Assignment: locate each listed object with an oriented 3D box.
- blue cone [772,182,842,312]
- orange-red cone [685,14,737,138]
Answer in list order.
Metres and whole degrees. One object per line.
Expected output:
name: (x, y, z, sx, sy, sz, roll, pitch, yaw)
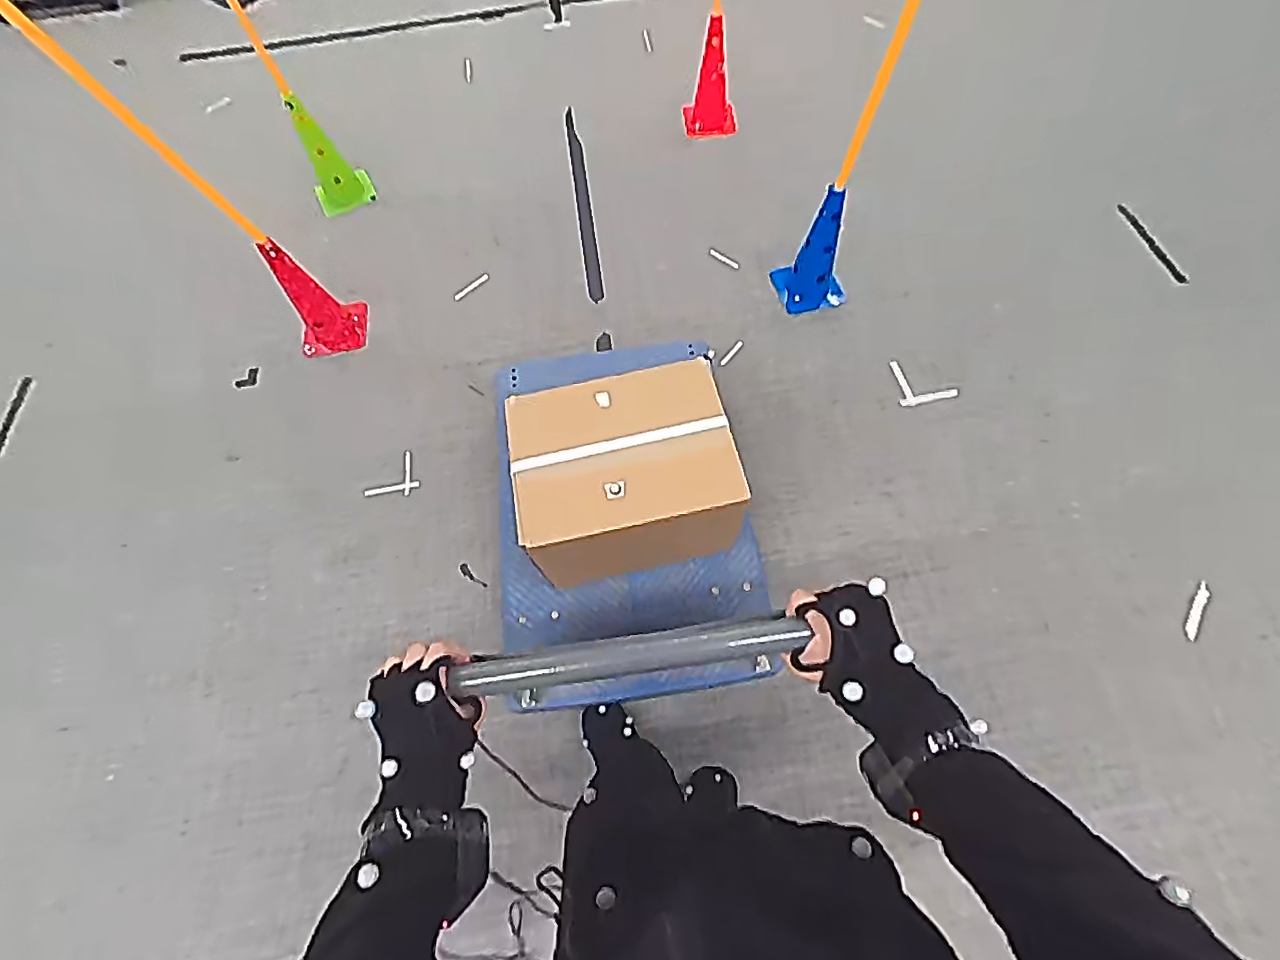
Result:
blue cone: (0.540, -0.702, 1.622, 0.193, 0.380, 0.192, -13, 64, -4)
orange-red cone: (0.276, -1.494, 1.988, 0.199, 0.360, 0.198, -3, 66, 0)
